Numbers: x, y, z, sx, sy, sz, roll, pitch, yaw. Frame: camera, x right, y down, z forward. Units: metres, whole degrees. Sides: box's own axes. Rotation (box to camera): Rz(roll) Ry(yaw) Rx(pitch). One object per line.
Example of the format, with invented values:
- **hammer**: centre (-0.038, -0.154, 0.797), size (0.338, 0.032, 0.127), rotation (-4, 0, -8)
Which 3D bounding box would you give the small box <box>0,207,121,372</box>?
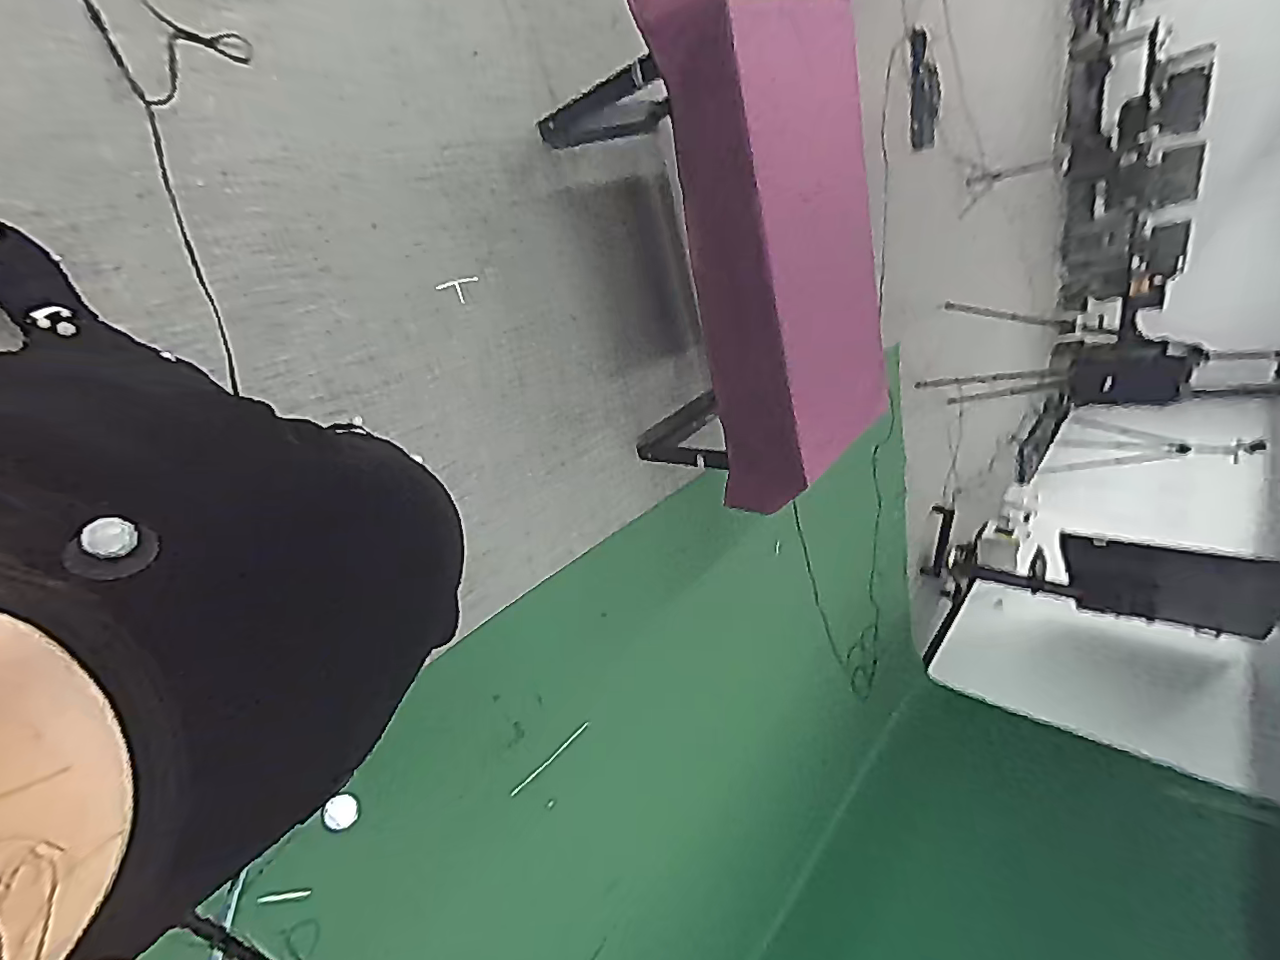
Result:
- **small box**: centre (-1.034, -0.319, 0.922), size (0.168, 0.176, 0.179), rotation (17, 57, -26)
